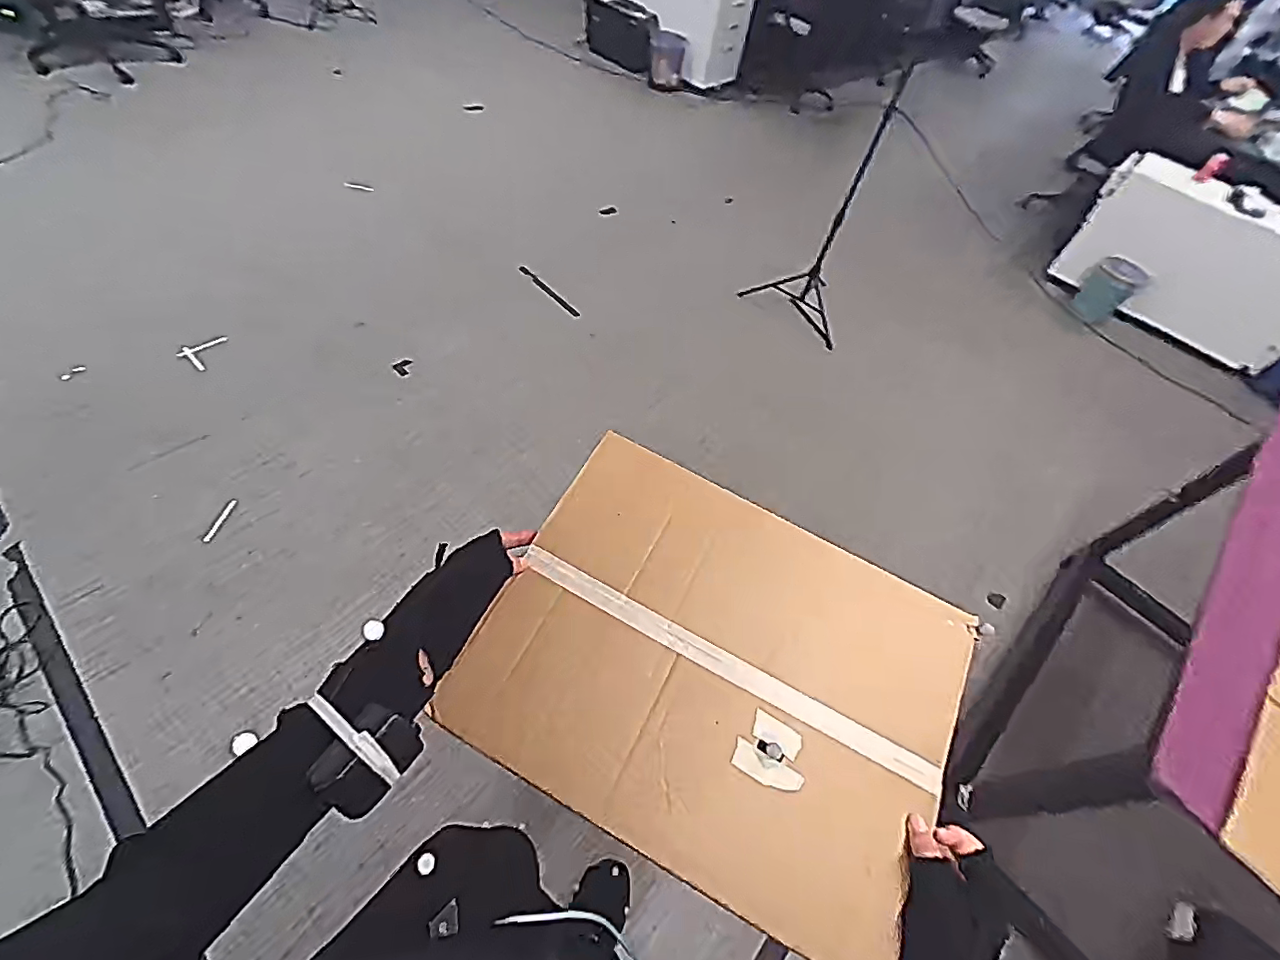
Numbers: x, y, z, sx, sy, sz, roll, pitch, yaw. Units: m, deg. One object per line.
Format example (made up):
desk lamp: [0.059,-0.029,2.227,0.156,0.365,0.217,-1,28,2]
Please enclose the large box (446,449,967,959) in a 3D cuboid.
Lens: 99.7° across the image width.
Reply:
large box: [0.063,0.233,0.624,0.408,0.320,0.320,28,66,8]
